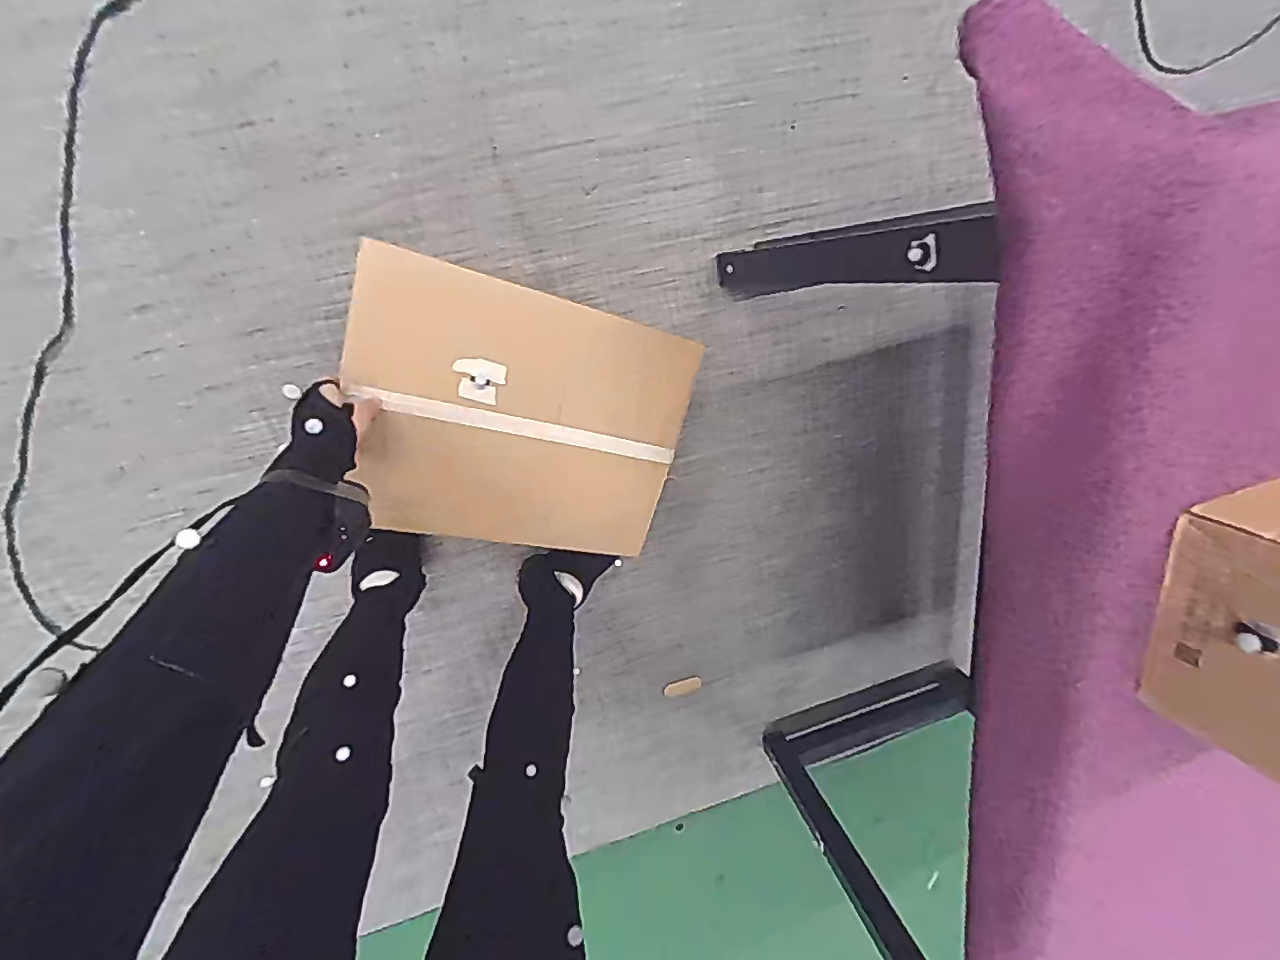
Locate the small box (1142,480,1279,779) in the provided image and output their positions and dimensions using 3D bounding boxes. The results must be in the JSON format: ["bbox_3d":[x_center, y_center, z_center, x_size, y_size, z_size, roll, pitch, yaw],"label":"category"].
[{"bbox_3d":[0.472,0.097,0.327,0.179,0.176,0.168,-15,112,-9],"label":"small box"}]
